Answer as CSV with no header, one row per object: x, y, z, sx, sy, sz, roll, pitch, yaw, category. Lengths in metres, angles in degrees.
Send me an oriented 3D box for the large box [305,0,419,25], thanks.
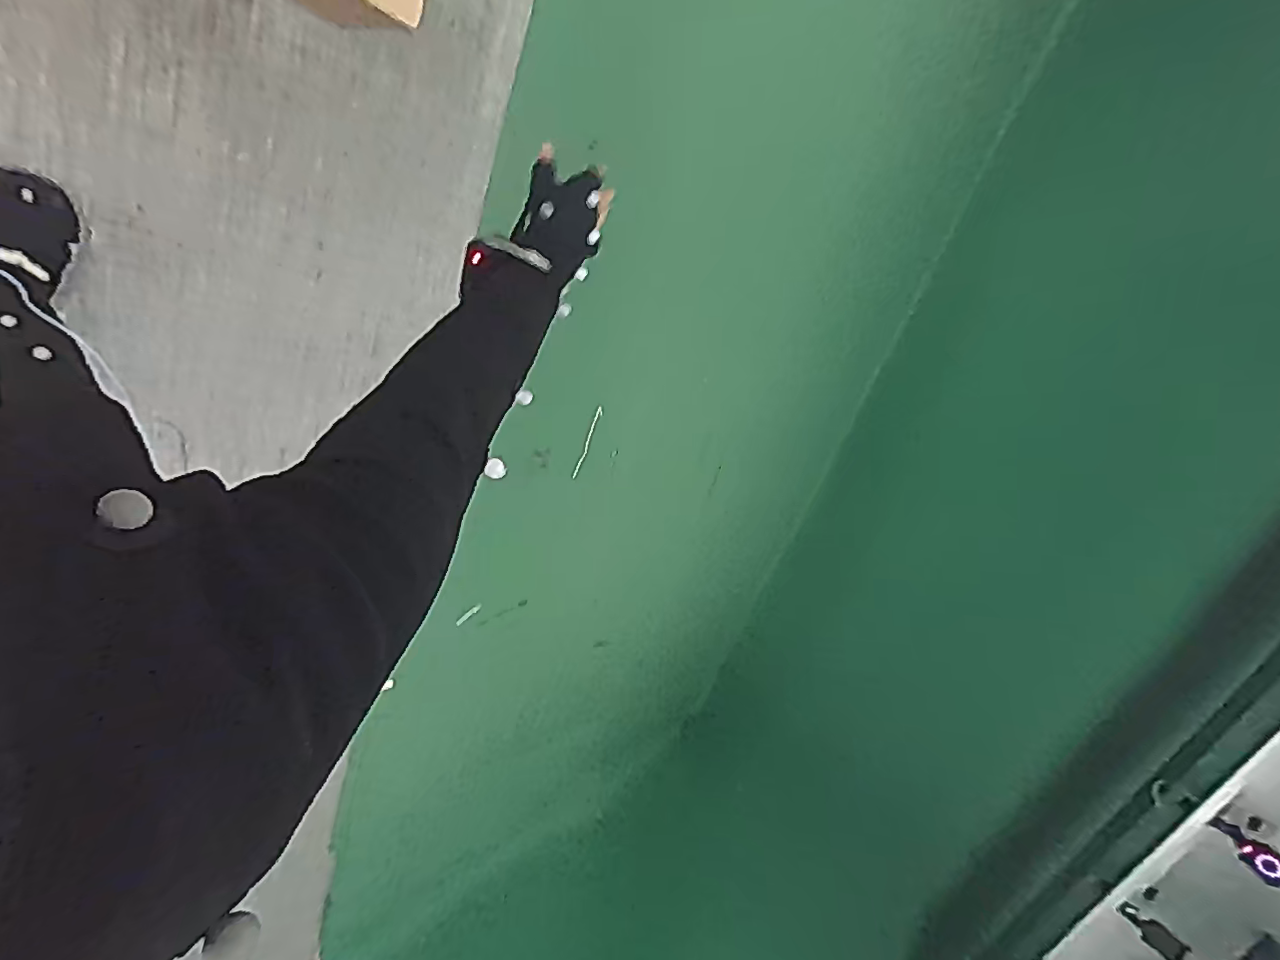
-0.493,-0.846,0.655,0.408,0.320,0.320,0,119,-49,large box
